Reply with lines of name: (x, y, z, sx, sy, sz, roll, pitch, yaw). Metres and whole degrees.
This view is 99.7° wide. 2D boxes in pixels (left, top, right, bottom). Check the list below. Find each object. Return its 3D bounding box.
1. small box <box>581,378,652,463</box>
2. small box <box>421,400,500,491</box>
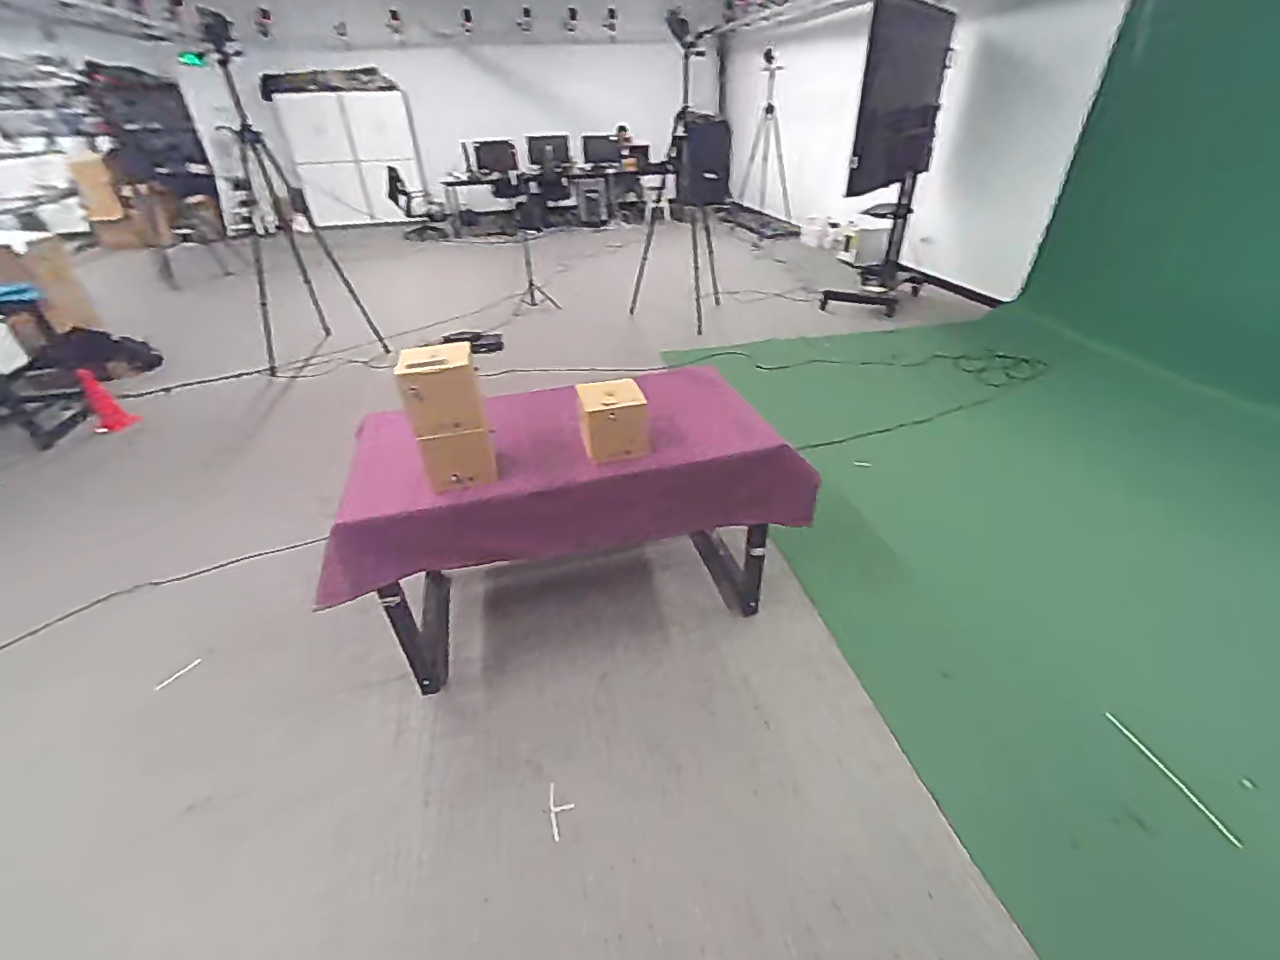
small box: (-0.067, -0.169, 1.528, 0.168, 0.176, 0.179, -11, 35, -10)
small box: (-0.472, -0.093, 1.444, 0.168, 0.176, 0.179, -10, 36, -10)
